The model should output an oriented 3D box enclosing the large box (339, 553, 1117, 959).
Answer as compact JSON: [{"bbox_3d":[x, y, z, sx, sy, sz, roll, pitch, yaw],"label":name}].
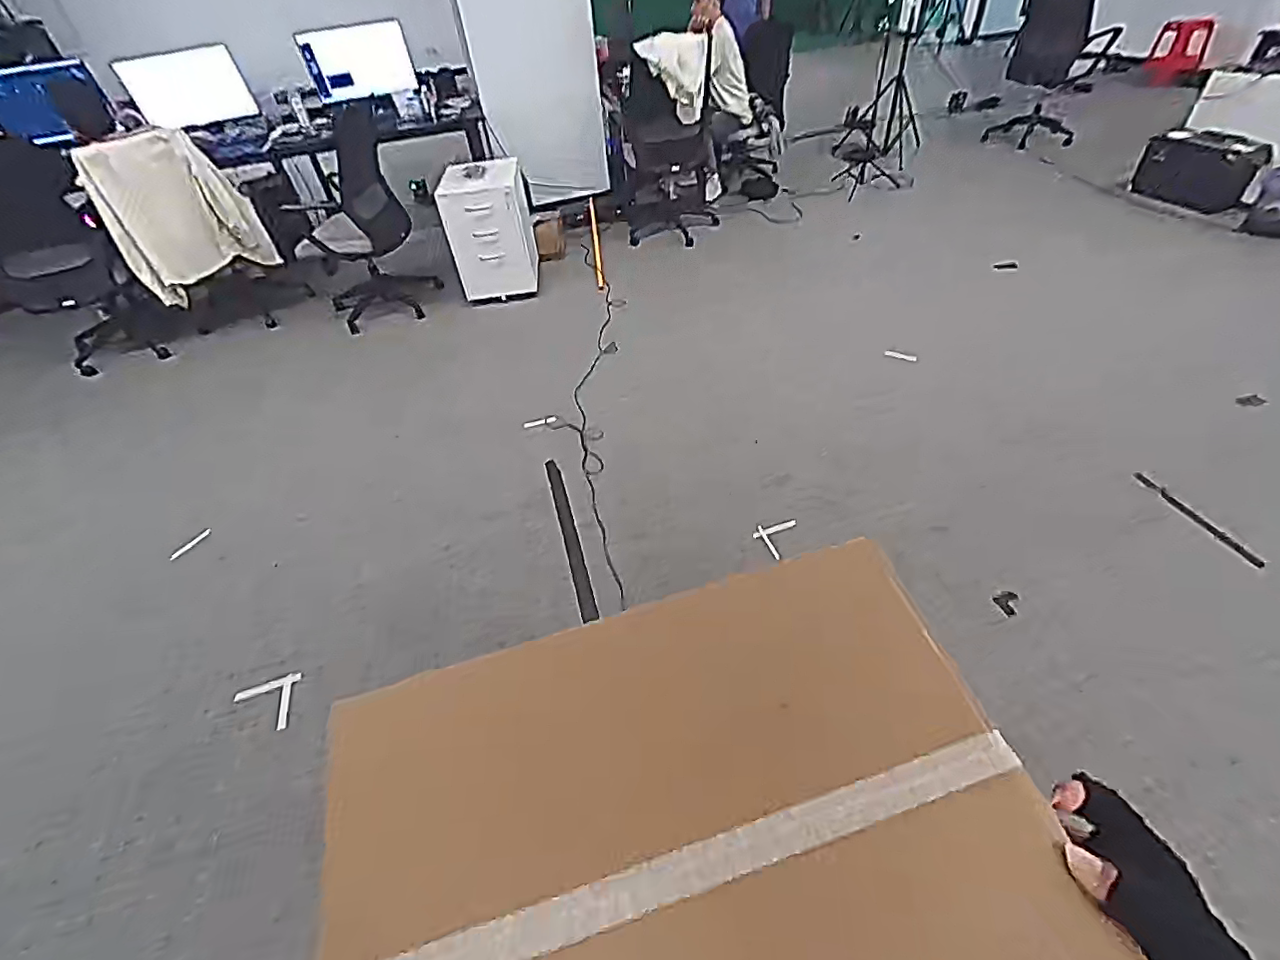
[{"bbox_3d":[0.041,0.315,0.431,0.408,0.320,0.320,-17,53,-6],"label":"large box"}]
